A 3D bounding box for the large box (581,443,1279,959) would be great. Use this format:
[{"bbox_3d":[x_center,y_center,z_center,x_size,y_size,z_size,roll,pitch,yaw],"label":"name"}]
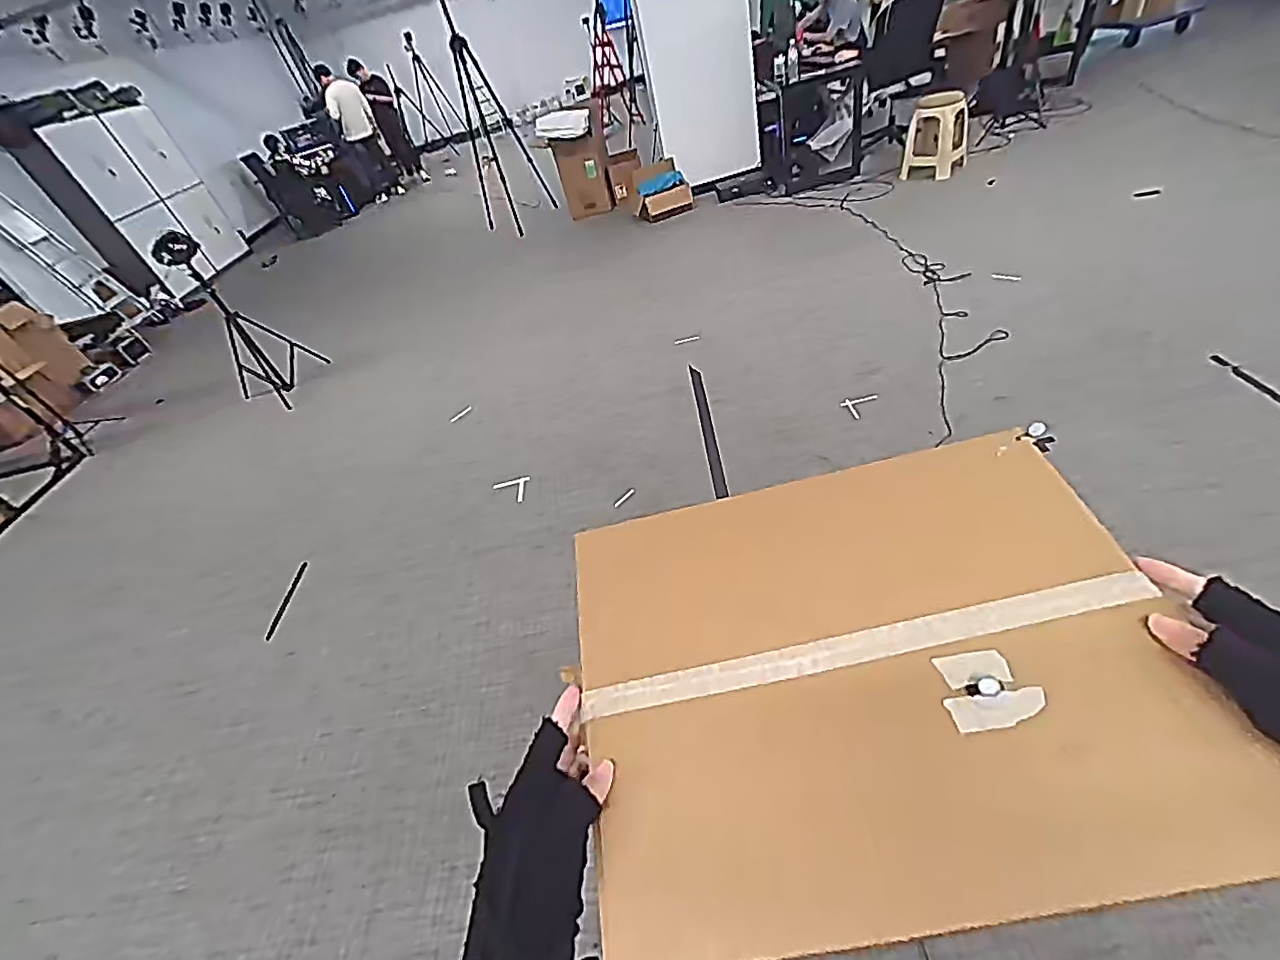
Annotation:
[{"bbox_3d":[0.186,0.220,0.515,0.408,0.320,0.320,-14,51,4],"label":"large box"}]
